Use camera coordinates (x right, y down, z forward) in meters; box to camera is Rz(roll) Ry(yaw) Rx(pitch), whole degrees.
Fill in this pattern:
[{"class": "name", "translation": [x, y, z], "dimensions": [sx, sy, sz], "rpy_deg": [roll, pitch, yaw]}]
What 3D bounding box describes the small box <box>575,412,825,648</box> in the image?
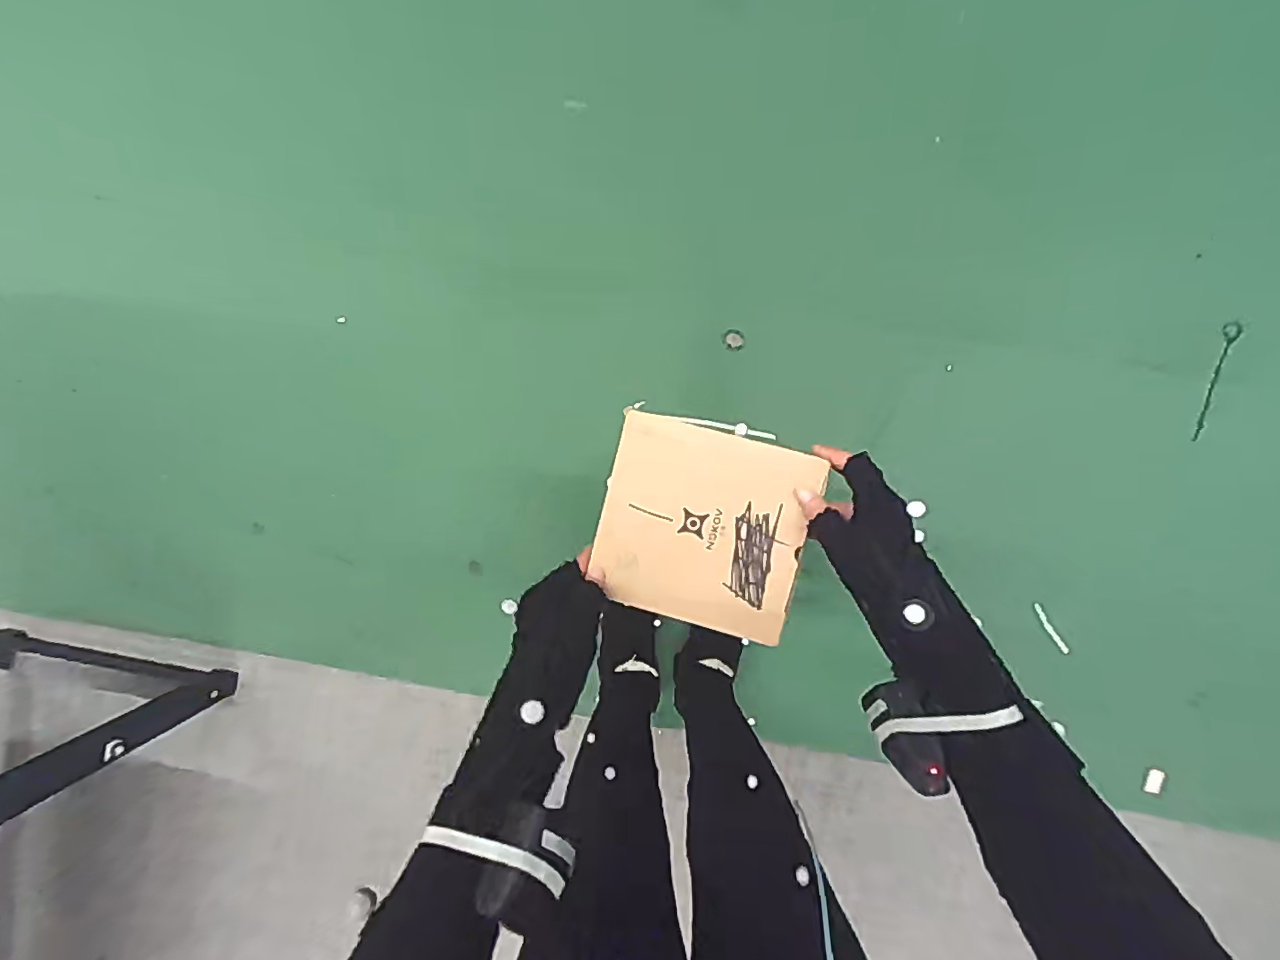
[{"class": "small box", "translation": [0.056, 0.037, 0.533], "dimensions": [0.179, 0.176, 0.168], "rpy_deg": [16, 94, 6]}]
